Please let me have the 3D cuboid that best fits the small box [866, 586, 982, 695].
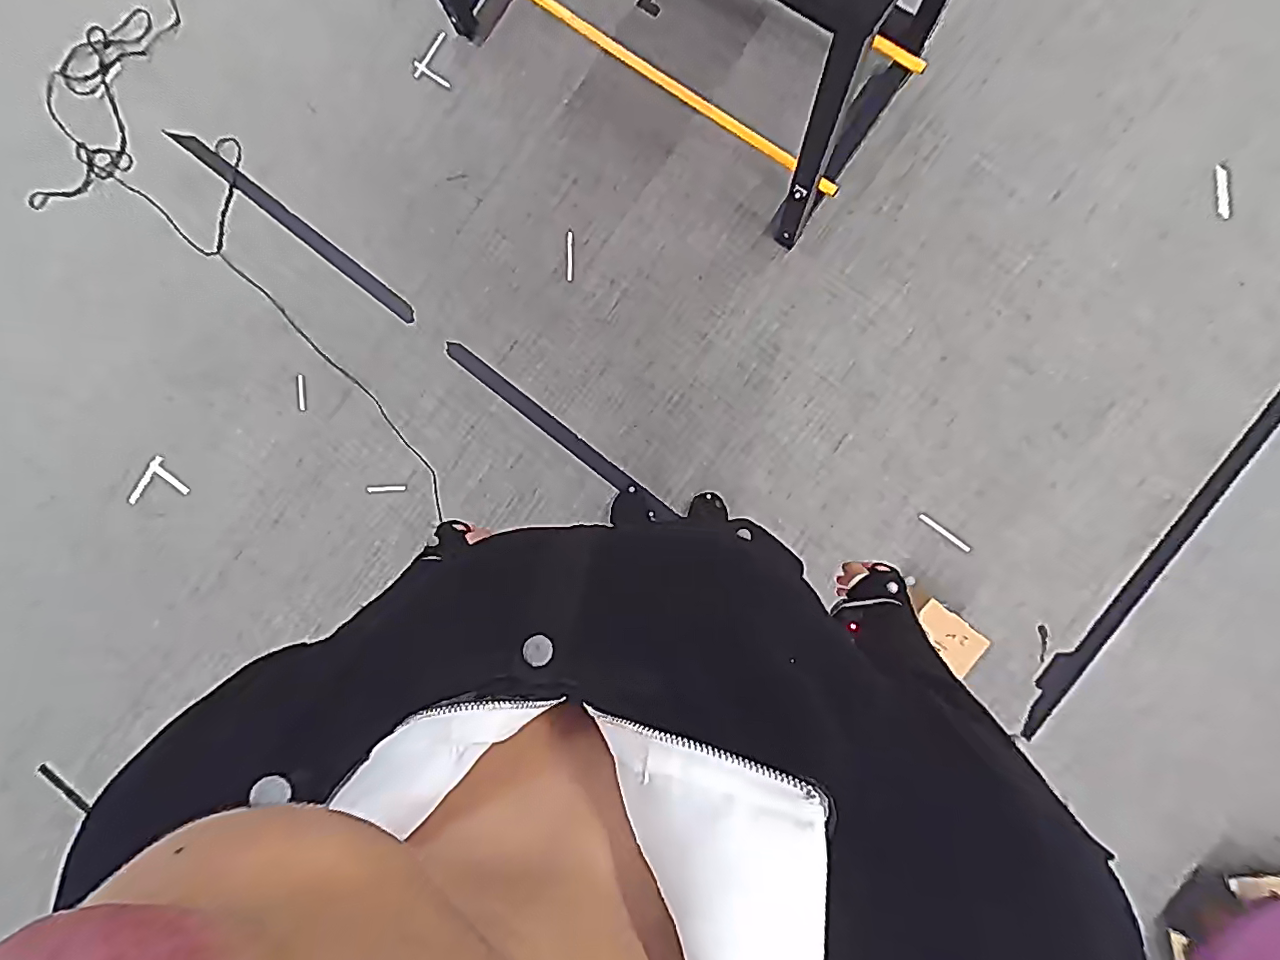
[{"bbox_3d":[0.690,0.390,1.344,0.168,0.176,0.179,38,92,6],"label":"small box"}]
